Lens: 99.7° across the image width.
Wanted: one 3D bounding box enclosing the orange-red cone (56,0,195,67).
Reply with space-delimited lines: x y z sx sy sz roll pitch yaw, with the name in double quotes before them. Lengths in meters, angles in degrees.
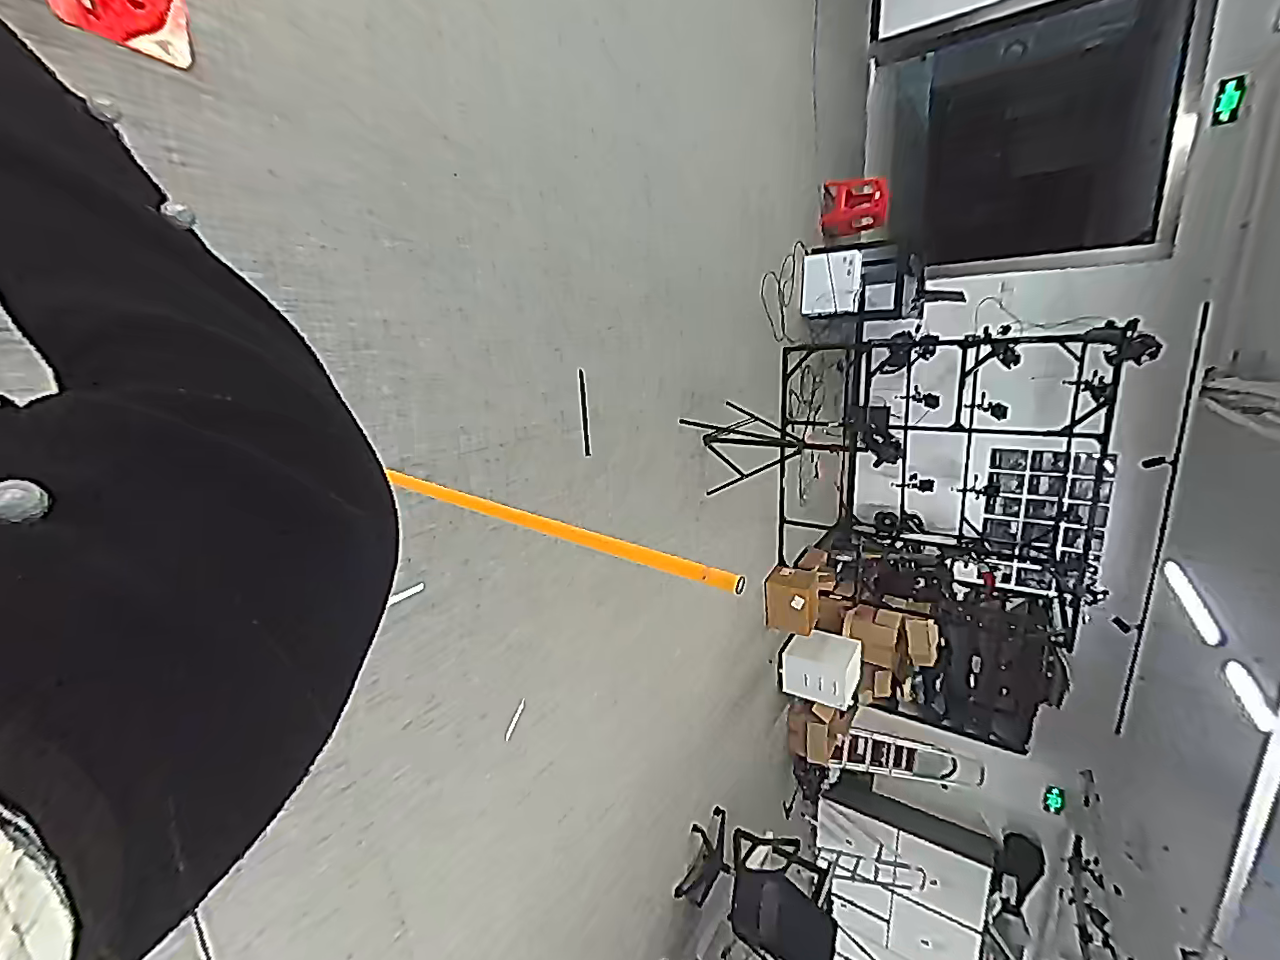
"orange-red cone" -0.818 -0.902 0.921 0.199 0.360 0.198 -12 107 -57
